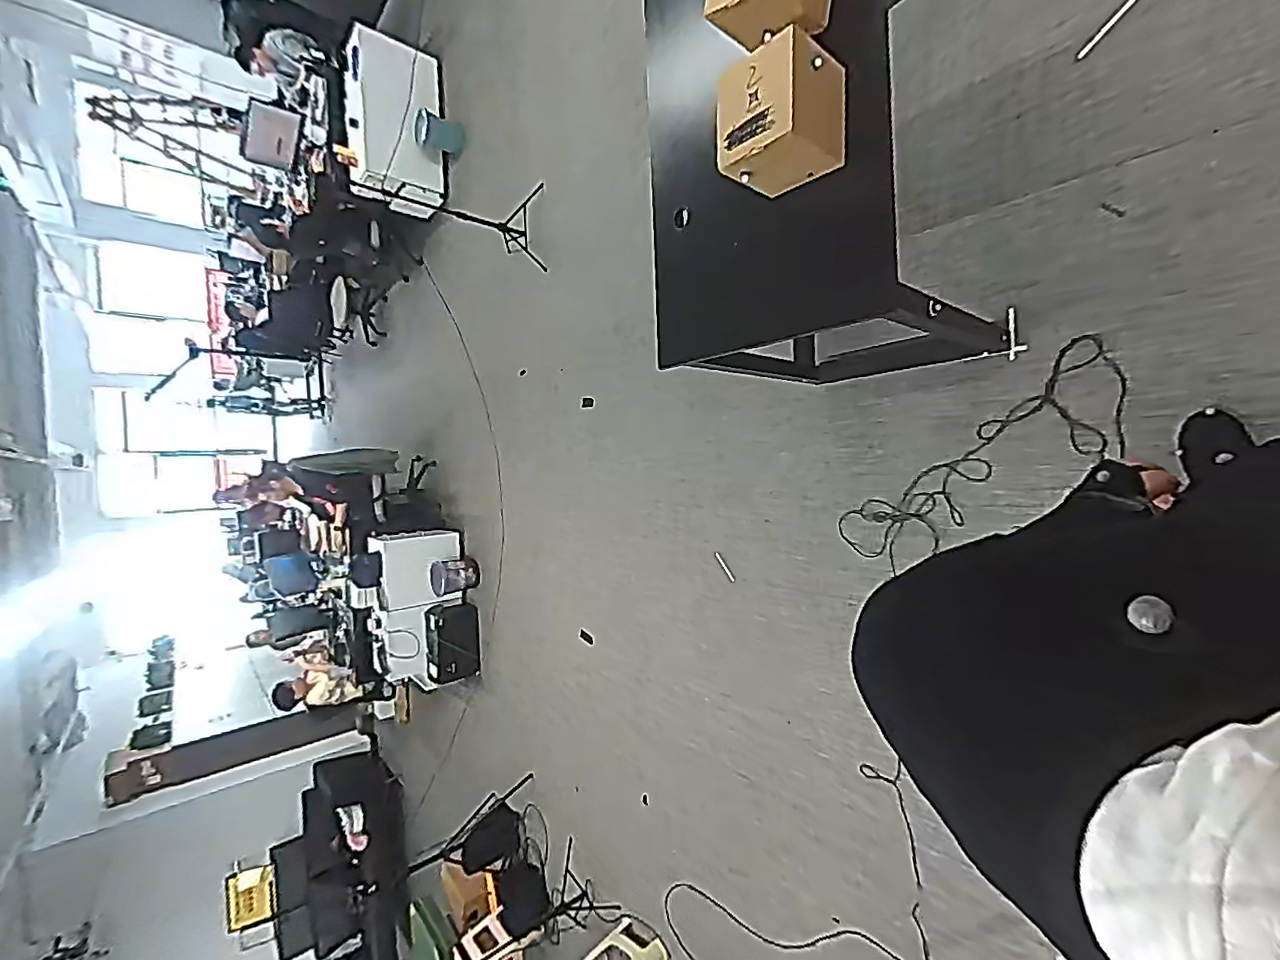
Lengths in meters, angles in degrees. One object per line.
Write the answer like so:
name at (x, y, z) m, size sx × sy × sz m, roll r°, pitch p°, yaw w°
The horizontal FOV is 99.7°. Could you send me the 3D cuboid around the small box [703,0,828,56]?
small box at (0.242, -0.939, 0.996) m, size 0.168 × 0.176 × 0.179 m, roll 20°, pitch 109°, yaw 48°
